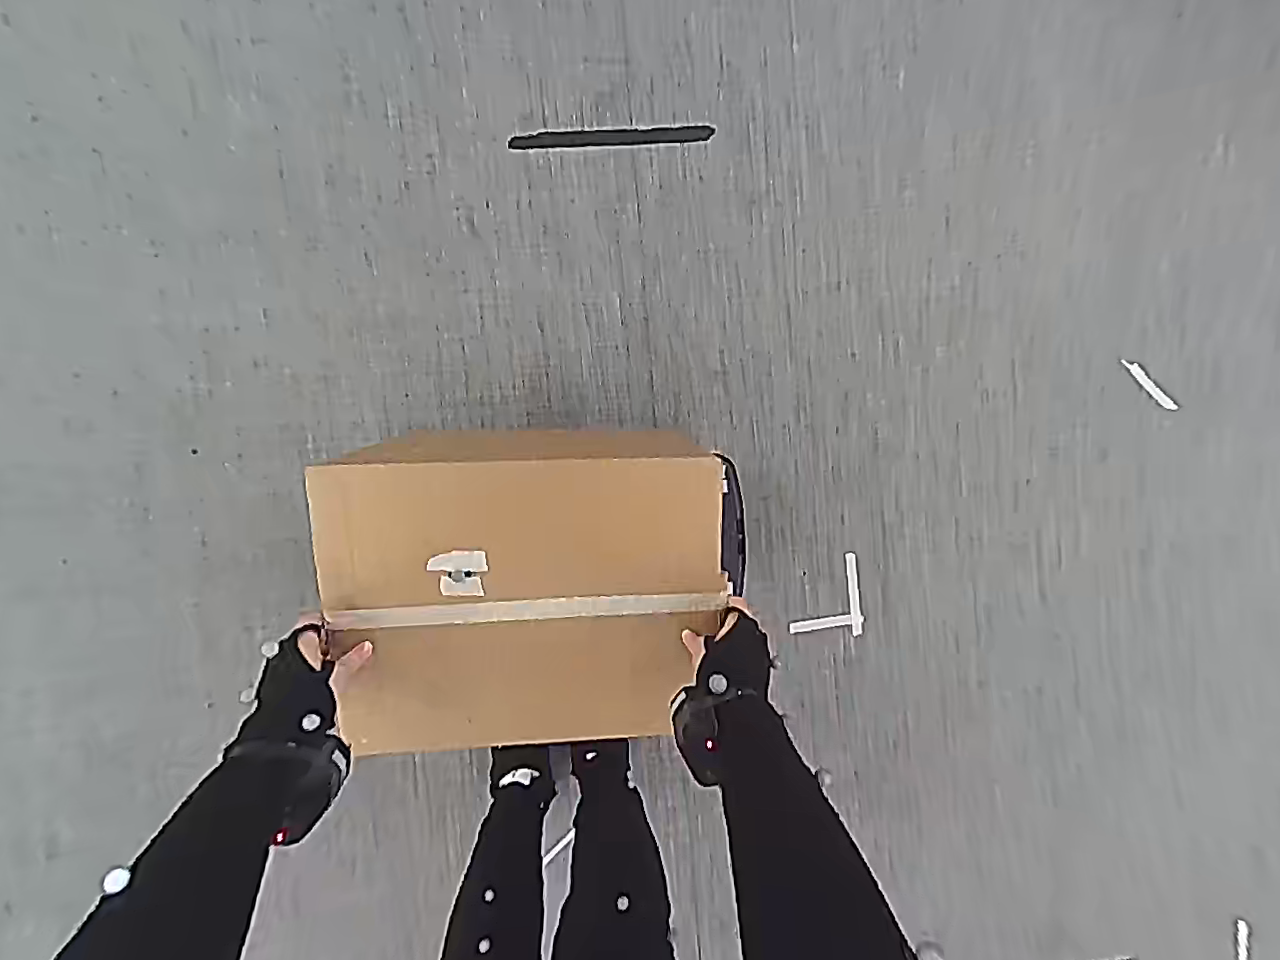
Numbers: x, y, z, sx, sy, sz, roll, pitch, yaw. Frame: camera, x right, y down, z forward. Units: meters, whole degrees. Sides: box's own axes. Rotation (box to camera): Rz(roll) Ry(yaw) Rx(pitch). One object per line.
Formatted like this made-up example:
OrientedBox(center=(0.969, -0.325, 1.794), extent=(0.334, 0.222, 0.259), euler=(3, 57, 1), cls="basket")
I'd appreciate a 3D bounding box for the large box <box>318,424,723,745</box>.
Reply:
OrientedBox(center=(-0.119, 0.097, 0.704), extent=(0.408, 0.320, 0.320), euler=(-1, 99, -4), cls="large box")
